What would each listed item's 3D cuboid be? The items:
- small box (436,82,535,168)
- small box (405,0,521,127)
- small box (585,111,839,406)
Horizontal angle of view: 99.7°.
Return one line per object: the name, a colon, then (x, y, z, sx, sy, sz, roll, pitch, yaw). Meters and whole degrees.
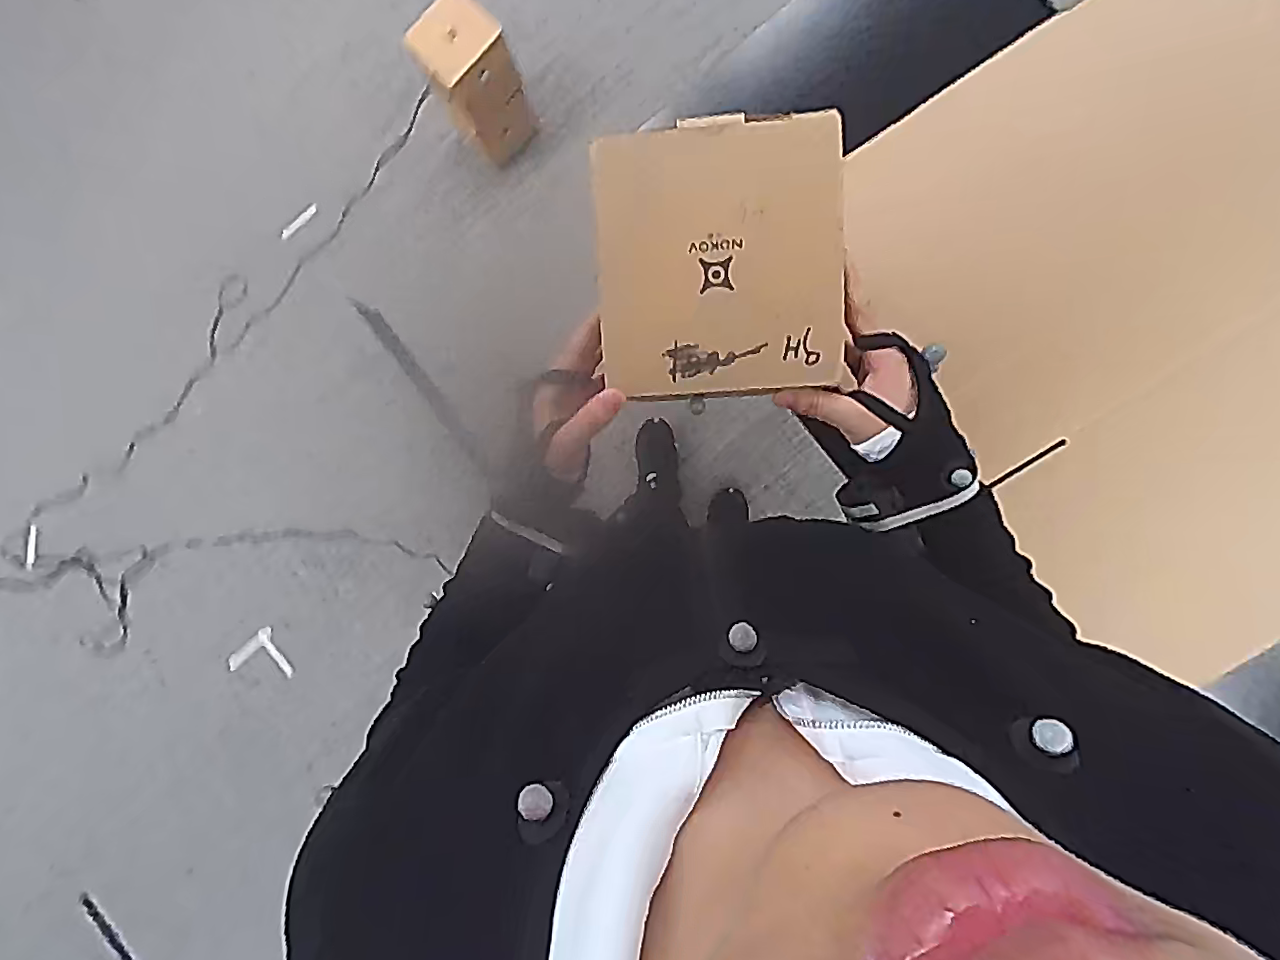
small box: (-0.404, -1.001, 1.459, 0.179, 0.176, 0.168, -42, 87, 4)
small box: (-0.414, -1.005, 1.297, 0.168, 0.176, 0.179, 45, 92, 2)
small box: (0.055, -0.155, 0.441, 0.168, 0.176, 0.179, -4, 96, 7)
